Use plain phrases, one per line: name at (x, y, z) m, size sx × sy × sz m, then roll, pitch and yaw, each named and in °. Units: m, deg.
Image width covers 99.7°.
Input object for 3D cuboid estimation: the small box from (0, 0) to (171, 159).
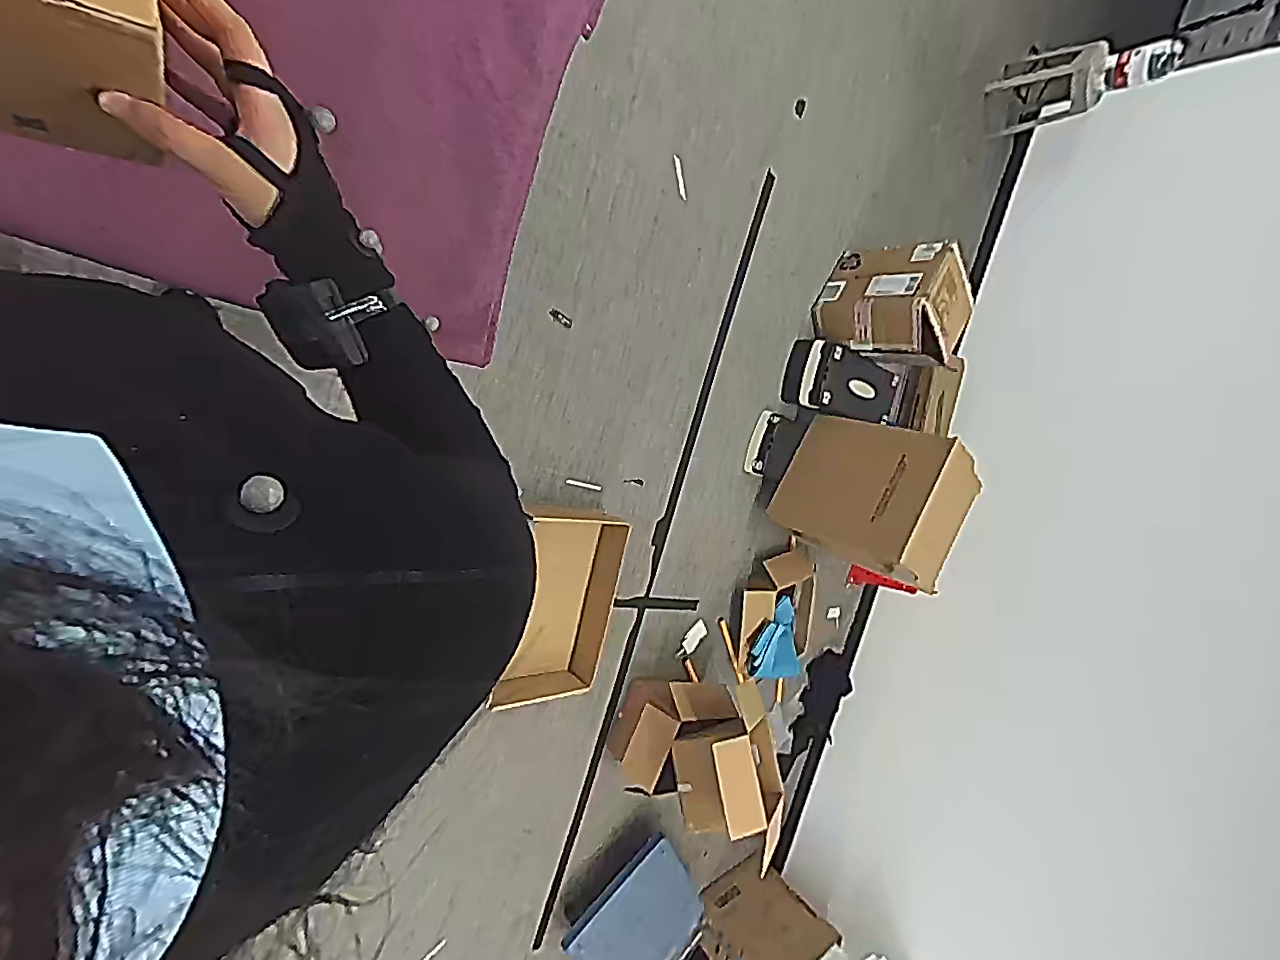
small box at (-0.339, -0.294, 0.255) m, size 0.168 × 0.176 × 0.179 m, roll -6°, pitch 98°, yaw -40°
